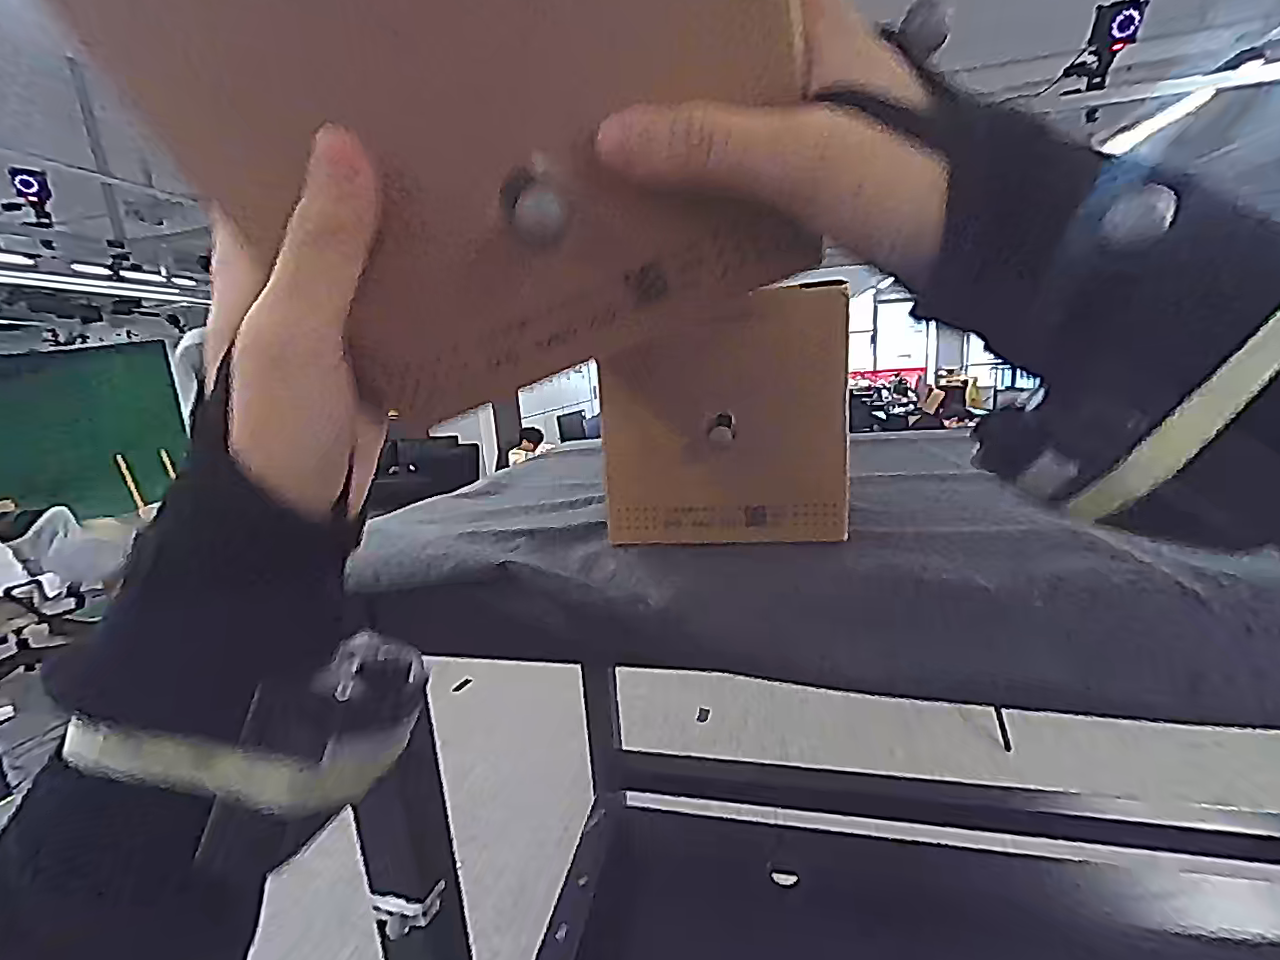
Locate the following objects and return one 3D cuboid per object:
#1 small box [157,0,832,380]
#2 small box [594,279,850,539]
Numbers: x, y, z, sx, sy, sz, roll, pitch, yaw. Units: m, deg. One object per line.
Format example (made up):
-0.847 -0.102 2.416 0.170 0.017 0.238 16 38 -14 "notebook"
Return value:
-0.045 -0.168 0.203 0.168 0.176 0.179 -21 43 7 "small box"
0.067 -0.054 0.435 0.168 0.176 0.179 -1 11 9 "small box"
